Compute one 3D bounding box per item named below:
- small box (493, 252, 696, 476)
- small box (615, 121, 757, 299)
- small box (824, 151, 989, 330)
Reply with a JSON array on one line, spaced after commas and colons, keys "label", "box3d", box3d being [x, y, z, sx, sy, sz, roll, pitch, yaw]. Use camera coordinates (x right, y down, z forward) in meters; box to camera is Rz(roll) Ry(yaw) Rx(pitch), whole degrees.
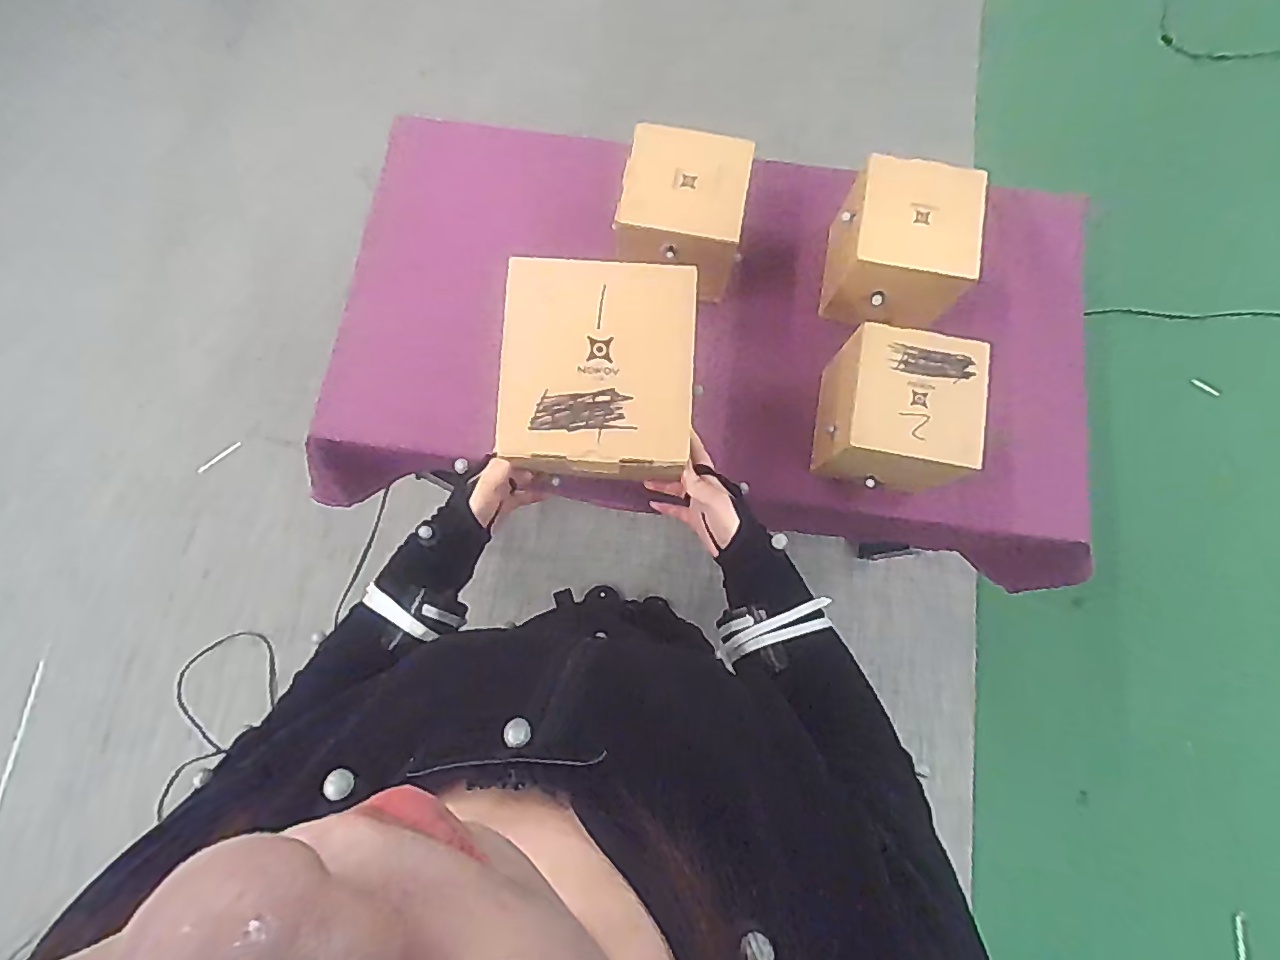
[{"label": "small box", "box3d": [-0.037, -0.099, 0.538, 0.168, 0.176, 0.179, 3, 84, 0]}, {"label": "small box", "box3d": [0.066, -0.403, 0.832, 0.179, 0.176, 0.168, 11, 79, 2]}, {"label": "small box", "box3d": [0.390, -0.350, 0.818, 0.168, 0.176, 0.179, 11, 79, 3]}]
